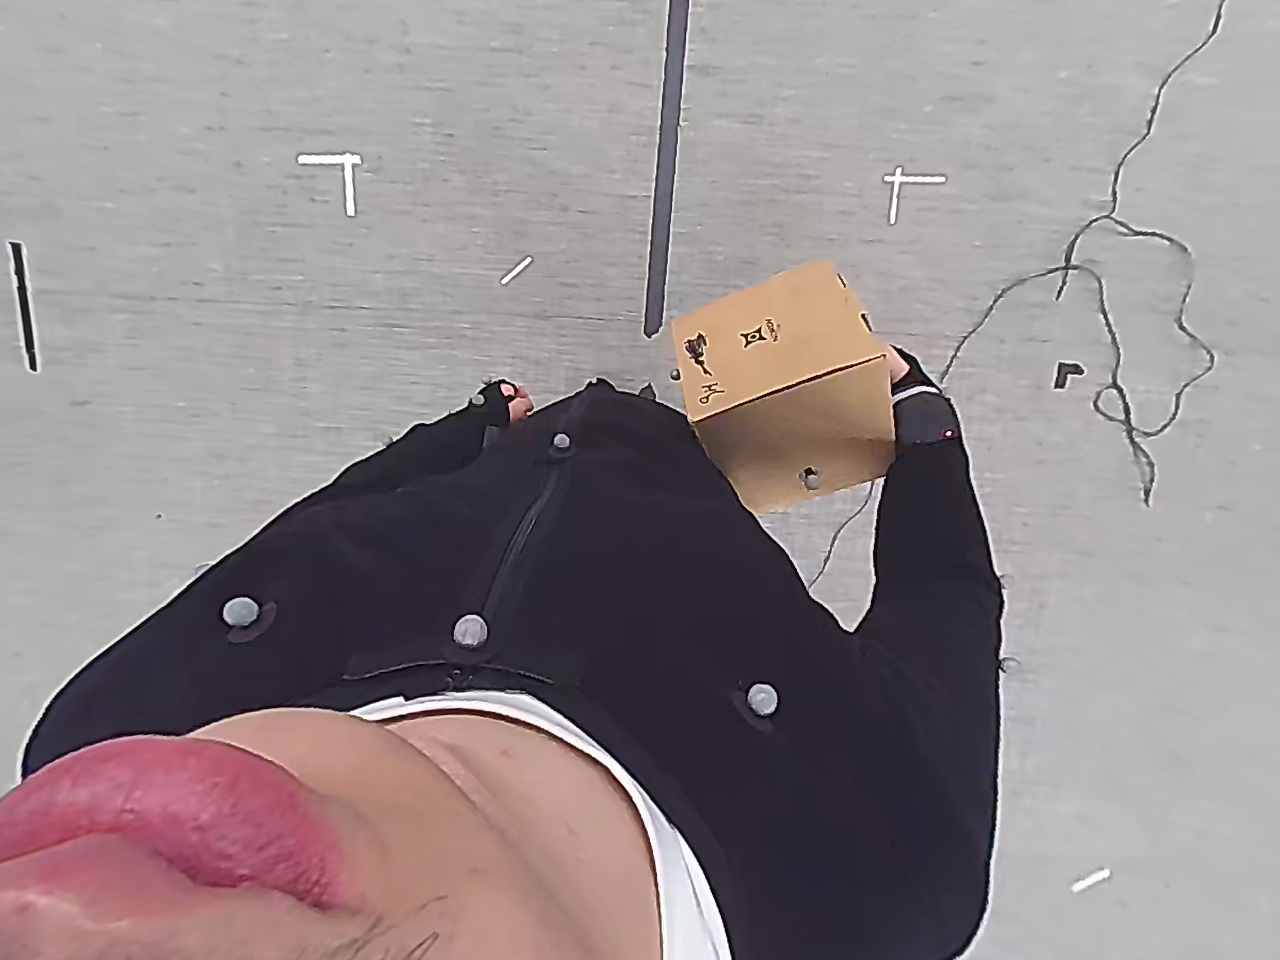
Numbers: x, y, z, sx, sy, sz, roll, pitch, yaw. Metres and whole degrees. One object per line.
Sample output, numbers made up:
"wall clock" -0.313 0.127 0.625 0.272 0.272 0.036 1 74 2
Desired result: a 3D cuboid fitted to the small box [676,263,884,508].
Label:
"small box" 0.155 -0.096 0.595 0.179 0.168 0.176 -18 137 15
